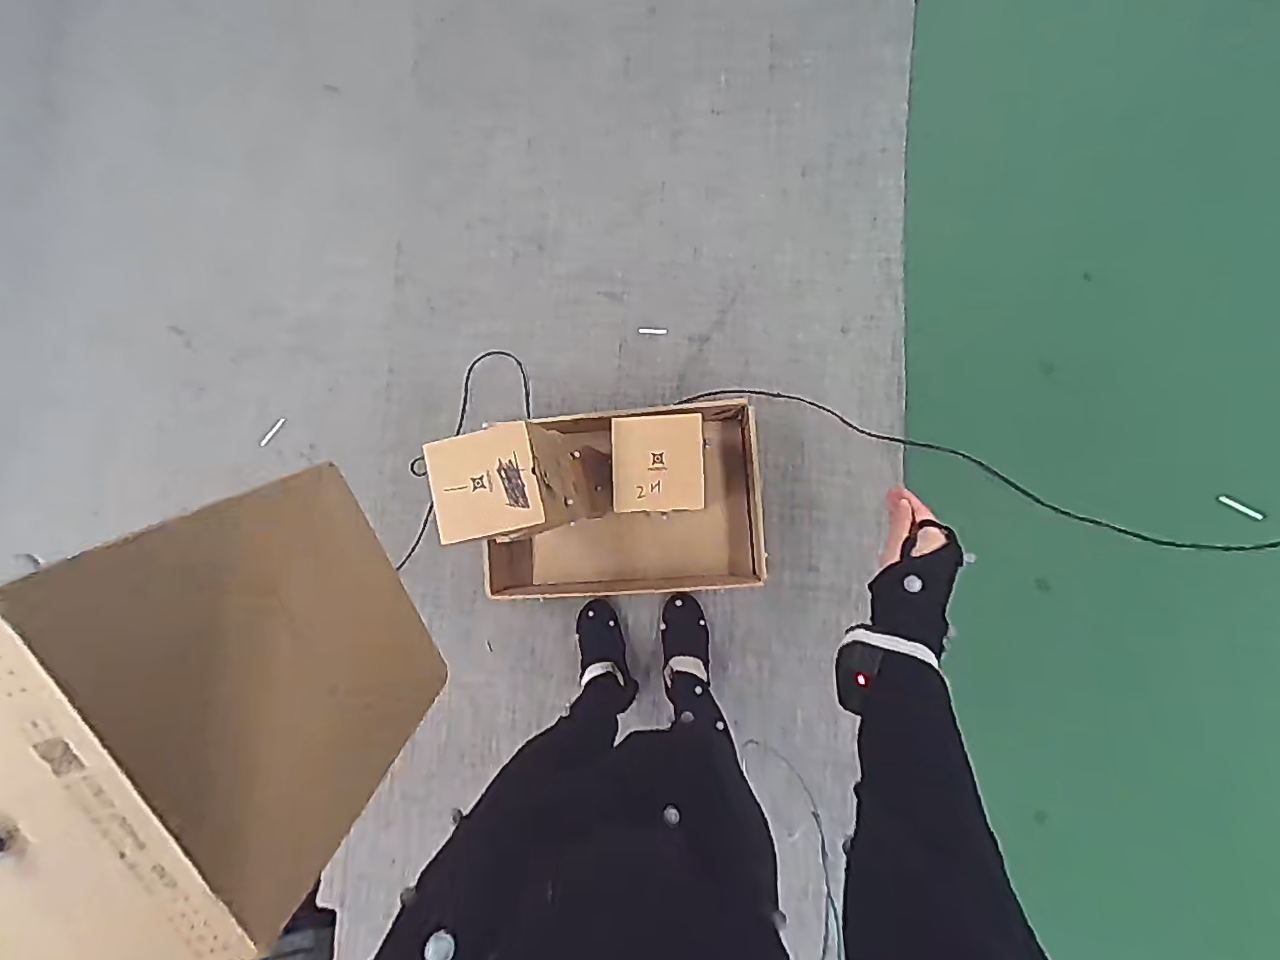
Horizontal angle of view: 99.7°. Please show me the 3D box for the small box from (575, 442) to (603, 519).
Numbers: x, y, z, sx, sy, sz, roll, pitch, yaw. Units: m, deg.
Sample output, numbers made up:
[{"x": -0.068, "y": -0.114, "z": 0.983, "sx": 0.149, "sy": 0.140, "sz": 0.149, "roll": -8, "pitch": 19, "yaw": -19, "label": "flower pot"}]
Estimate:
[{"x": -0.188, "y": 0.009, "z": 1.247, "sx": 0.179, "sy": 0.176, "sz": 0.168, "roll": -3, "pitch": 87, "yaw": 6, "label": "small box"}]

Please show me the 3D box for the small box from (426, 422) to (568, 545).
[{"x": -0.231, "y": 0.009, "z": 0.923, "sx": 0.179, "sy": 0.176, "sz": 0.168, "roll": -13, "pitch": 85, "yaw": 7, "label": "small box"}]

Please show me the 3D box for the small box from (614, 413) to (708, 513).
[{"x": 0.045, "y": -0.025, "z": 1.048, "sx": 0.168, "sy": 0.176, "sz": 0.179, "roll": -2, "pitch": 86, "yaw": 9, "label": "small box"}]

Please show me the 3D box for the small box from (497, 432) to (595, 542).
[{"x": -0.200, "y": 0.015, "z": 1.084, "sx": 0.179, "sy": 0.176, "sz": 0.168, "roll": -20, "pitch": 85, "yaw": 6, "label": "small box"}]

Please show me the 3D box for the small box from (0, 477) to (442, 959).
[{"x": -0.242, "y": 0.114, "z": 0.287, "sx": 0.176, "sy": 0.179, "sz": 0.168, "roll": -20, "pitch": 104, "yaw": 10, "label": "small box"}]
